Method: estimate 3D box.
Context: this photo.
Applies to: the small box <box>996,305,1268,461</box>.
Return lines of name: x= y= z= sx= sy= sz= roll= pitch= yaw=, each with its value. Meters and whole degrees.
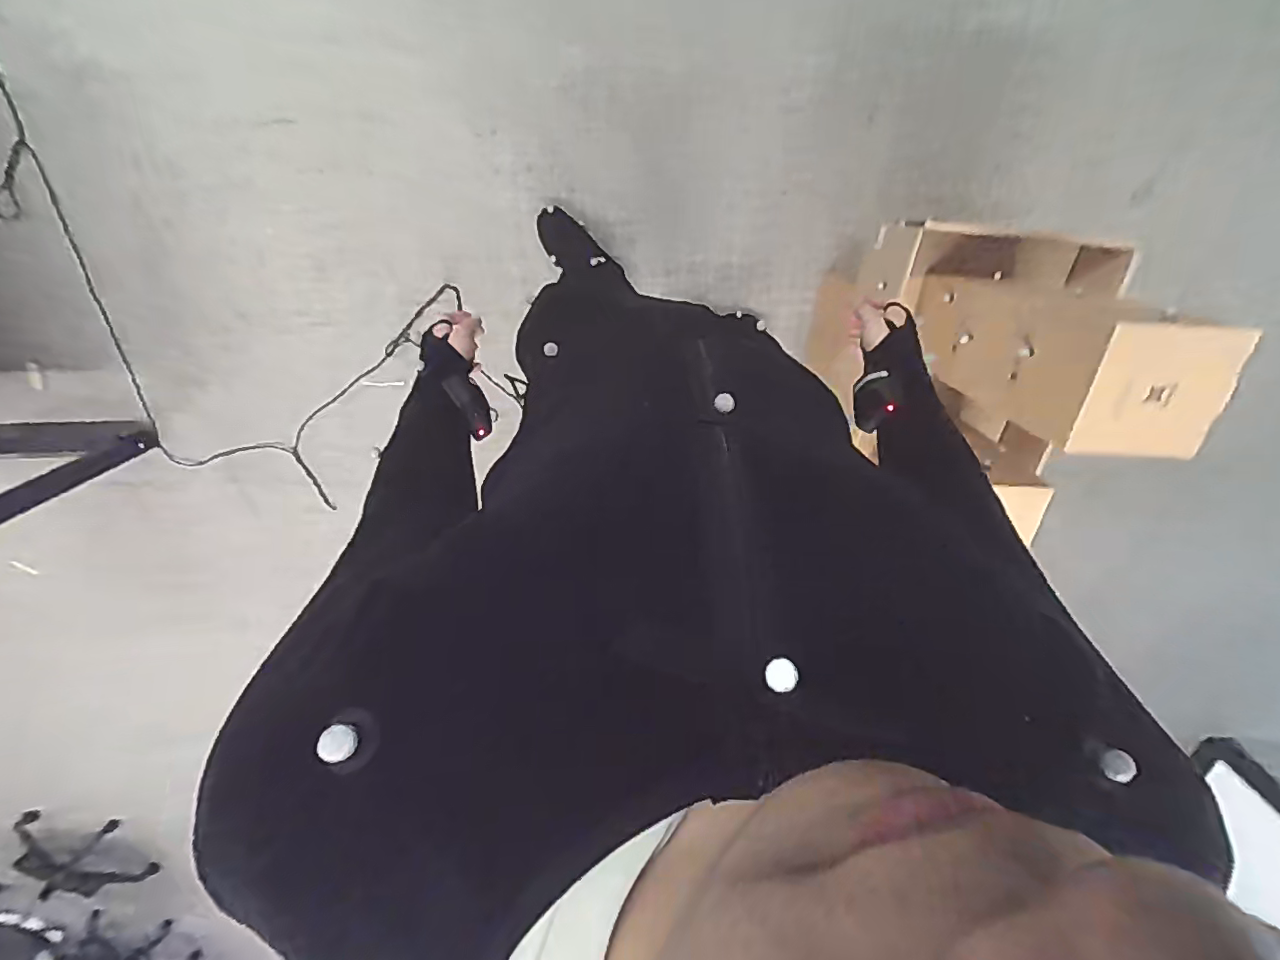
small box: x=0.635 y=-0.136 z=0.728 sx=0.179 sy=0.176 sz=0.168 roll=3 pitch=116 yaw=-1

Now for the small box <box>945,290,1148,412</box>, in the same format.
small box: x=0.638 y=-0.209 z=0.873 sx=0.179 sy=0.176 sz=0.168 roll=3 pitch=116 yaw=-1

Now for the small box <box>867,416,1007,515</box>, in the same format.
small box: x=0.618 y=-0.027 z=1.150 sx=0.179 sy=0.176 sz=0.168 roll=7 pitch=117 yaw=-2
